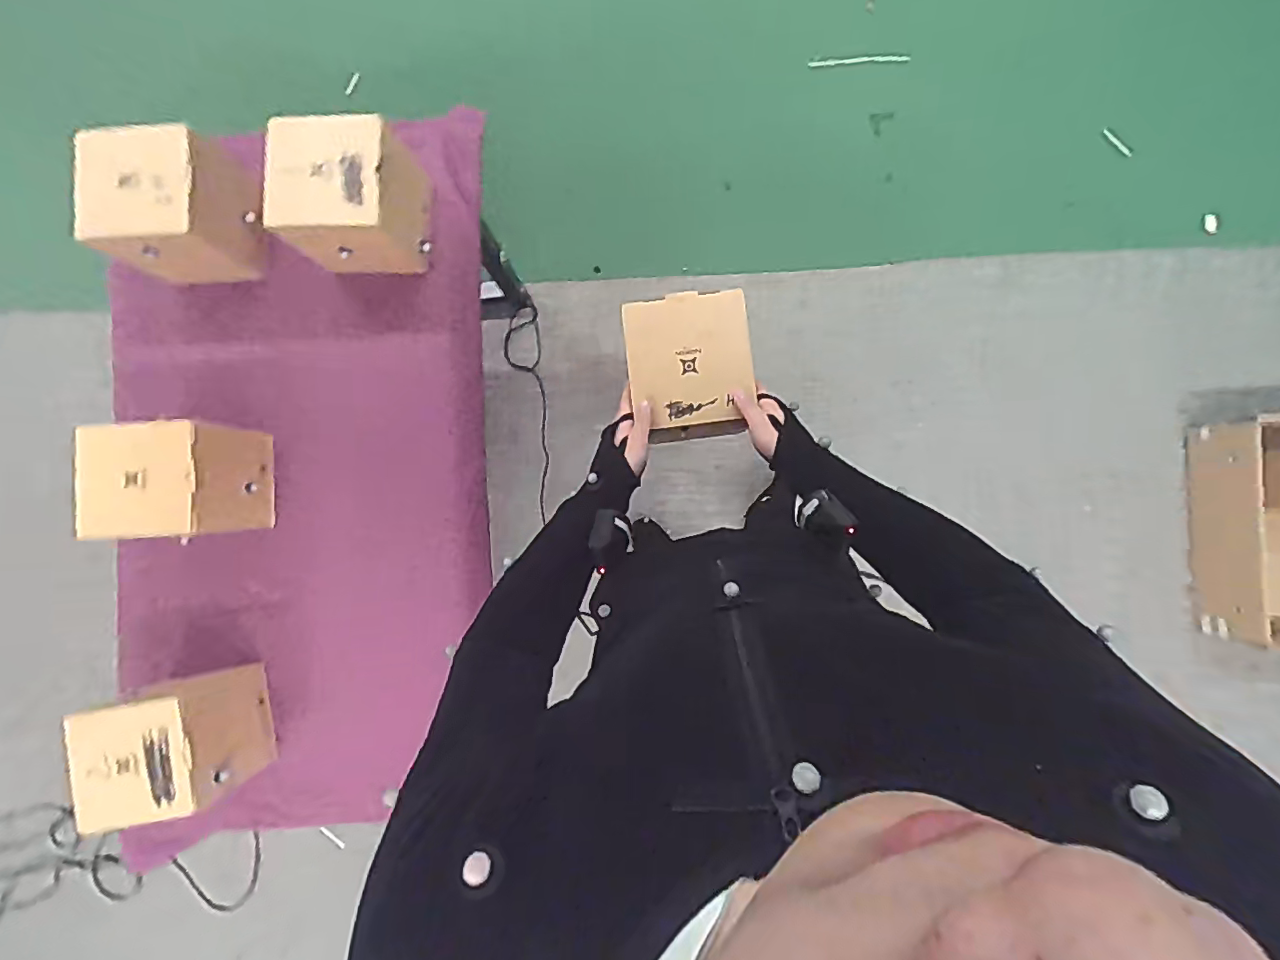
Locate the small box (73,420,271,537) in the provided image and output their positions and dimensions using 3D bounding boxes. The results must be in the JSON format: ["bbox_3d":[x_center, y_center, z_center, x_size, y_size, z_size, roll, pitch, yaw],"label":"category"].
[{"bbox_3d":[-0.728,0.003,0.857,0.179,0.176,0.168,-4,87,0],"label":"small box"}]

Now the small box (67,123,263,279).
[{"bbox_3d":[-0.752,-0.437,0.871,0.179,0.176,0.168,-2,89,1],"label":"small box"}]

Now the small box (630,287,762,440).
[{"bbox_3d":[0.077,-0.160,0.792,0.168,0.176,0.179,-6,89,3],"label":"small box"}]

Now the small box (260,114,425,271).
[{"bbox_3d":[-0.461,-0.447,0.863,0.179,0.176,0.168,1,89,3],"label":"small box"}]
